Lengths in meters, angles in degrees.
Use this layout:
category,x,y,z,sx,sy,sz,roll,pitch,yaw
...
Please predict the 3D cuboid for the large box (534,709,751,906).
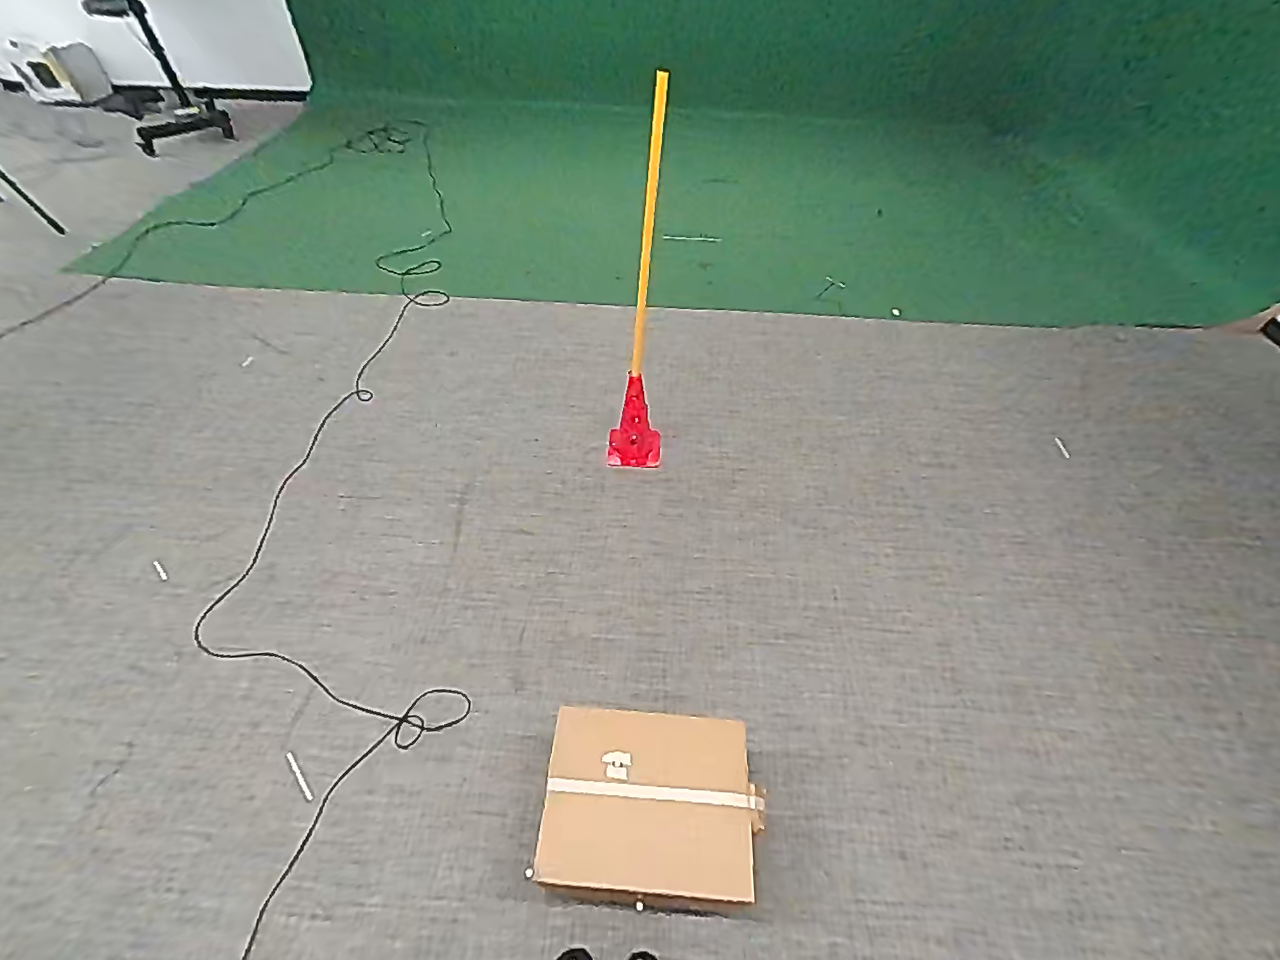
category,x,y,z,sx,sy,sz,roll,pitch,yaw
large box,0.013,0.723,1.187,0.408,0.320,0.320,4,48,2
